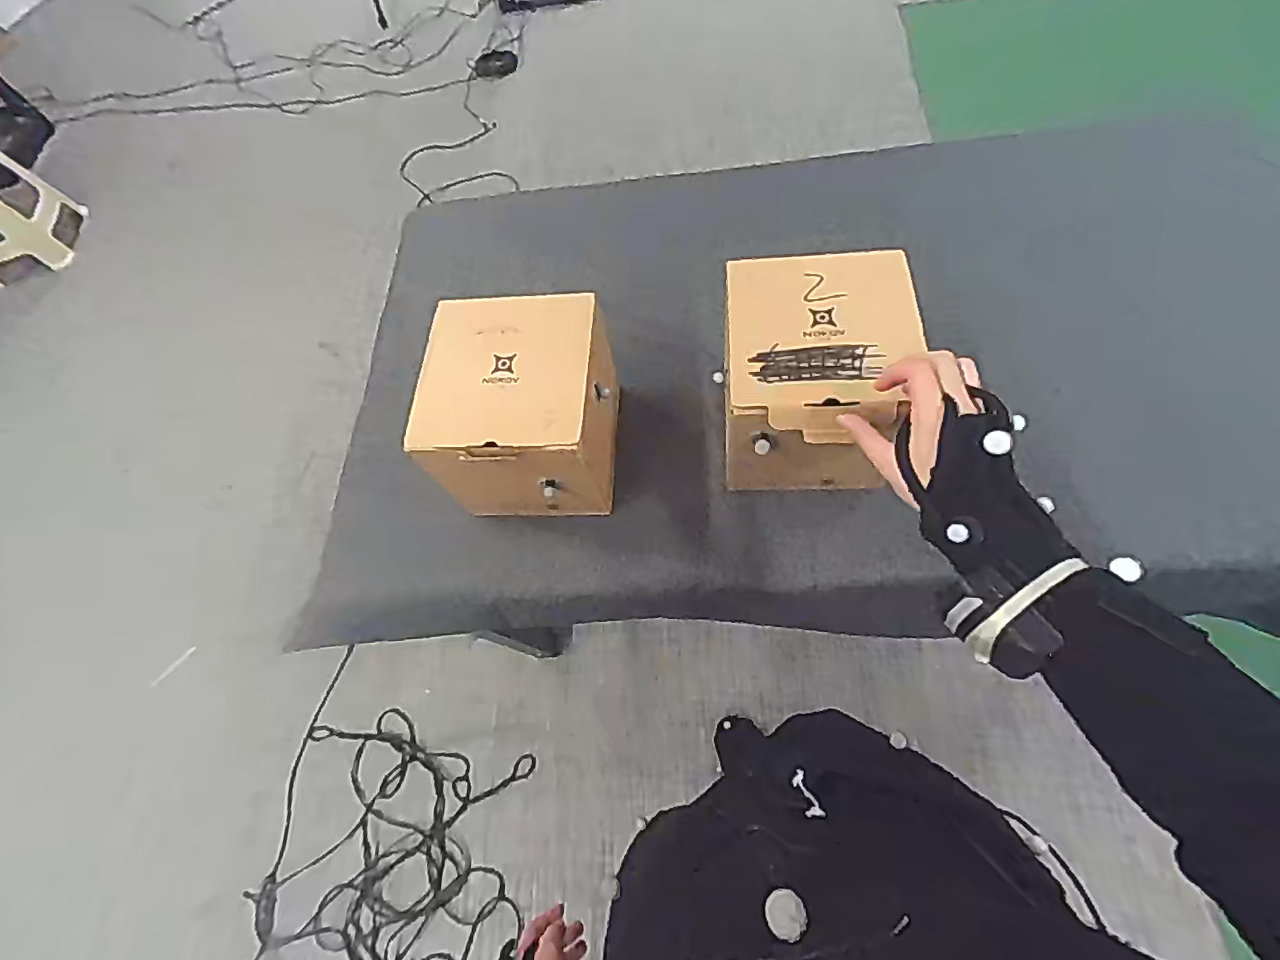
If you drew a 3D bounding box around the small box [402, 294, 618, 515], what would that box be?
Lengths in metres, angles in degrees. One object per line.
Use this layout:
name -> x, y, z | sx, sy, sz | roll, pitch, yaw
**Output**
small box -> -0.118, -0.069, 0.574 | 0.168, 0.176, 0.179 | 0, 64, 6
